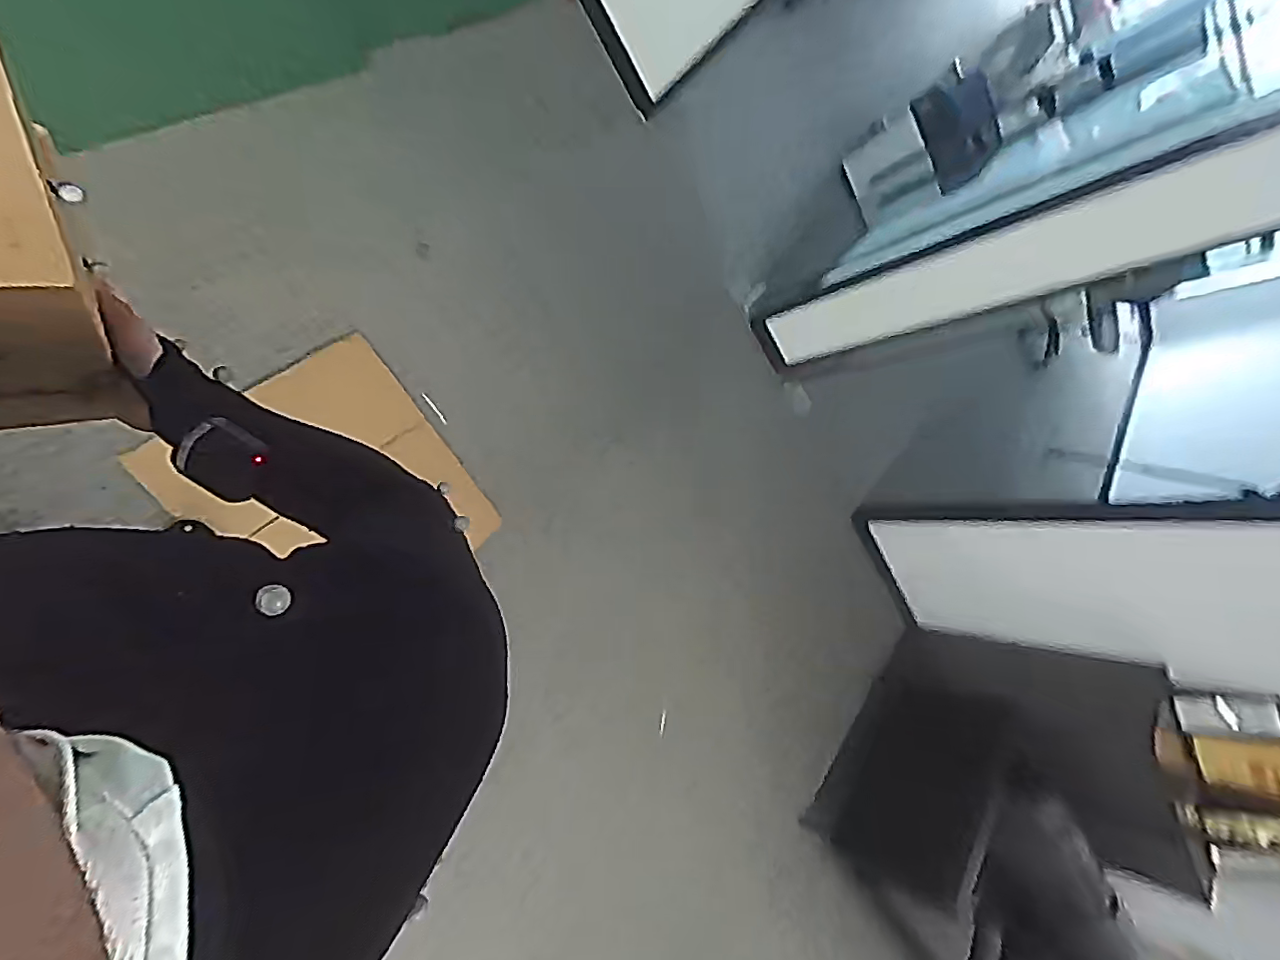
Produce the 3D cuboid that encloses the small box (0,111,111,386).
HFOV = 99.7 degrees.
[{"bbox_3d":[-0.555,-0.170,0.426,0.168,0.176,0.179,-15,96,-40],"label":"small box"}]

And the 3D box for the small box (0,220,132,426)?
[{"bbox_3d":[-0.659,-0.157,0.556,0.168,0.176,0.179,-16,98,-39],"label":"small box"}]
